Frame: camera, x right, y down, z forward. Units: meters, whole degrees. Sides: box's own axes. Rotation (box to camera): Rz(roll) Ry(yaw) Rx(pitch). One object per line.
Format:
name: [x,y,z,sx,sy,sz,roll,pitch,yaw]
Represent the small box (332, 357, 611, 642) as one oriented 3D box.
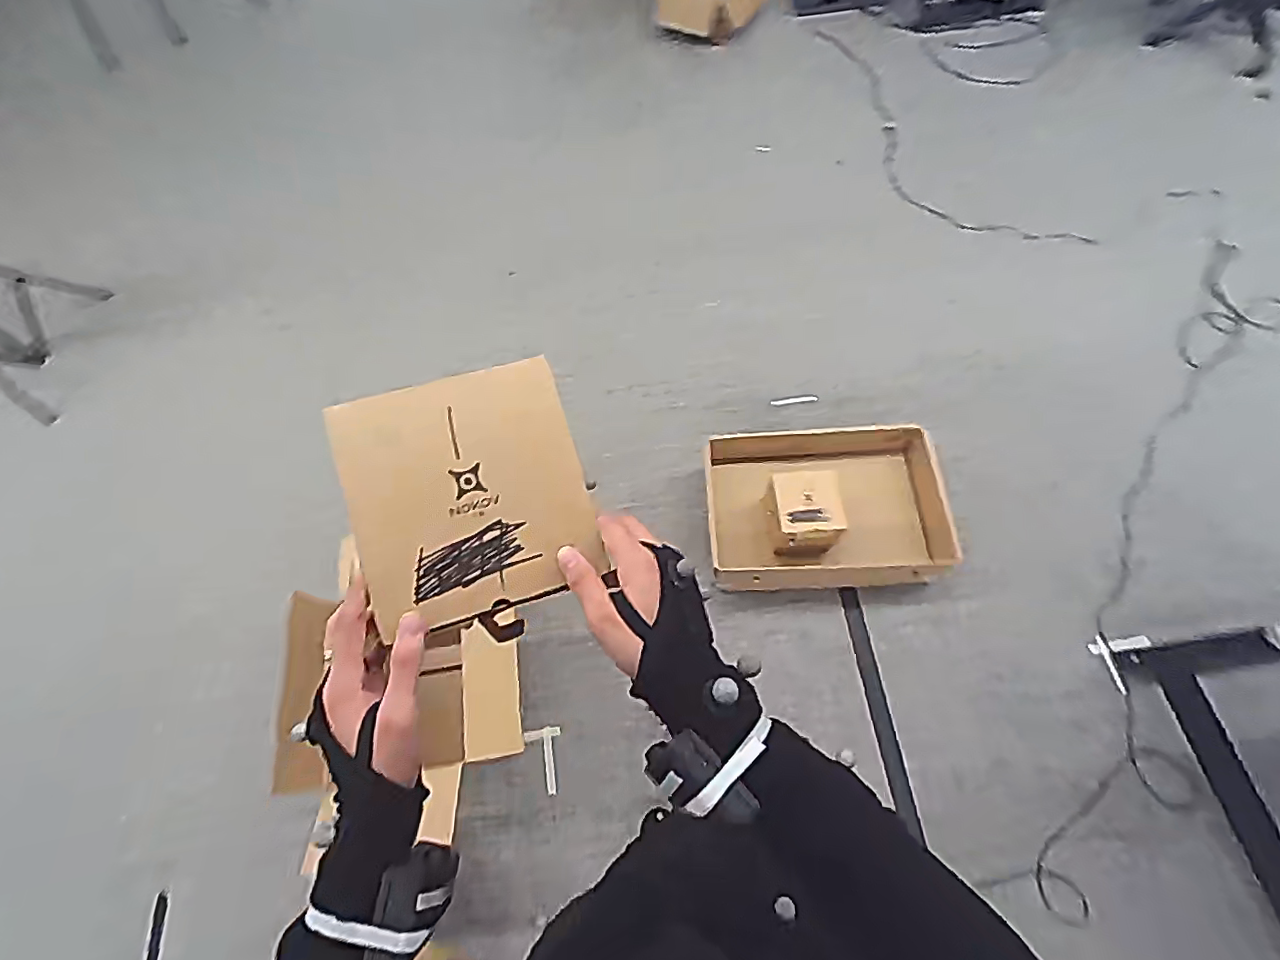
small box: [-0.130,0.020,0.467,0.168,0.176,0.179,-15,84,-11]
